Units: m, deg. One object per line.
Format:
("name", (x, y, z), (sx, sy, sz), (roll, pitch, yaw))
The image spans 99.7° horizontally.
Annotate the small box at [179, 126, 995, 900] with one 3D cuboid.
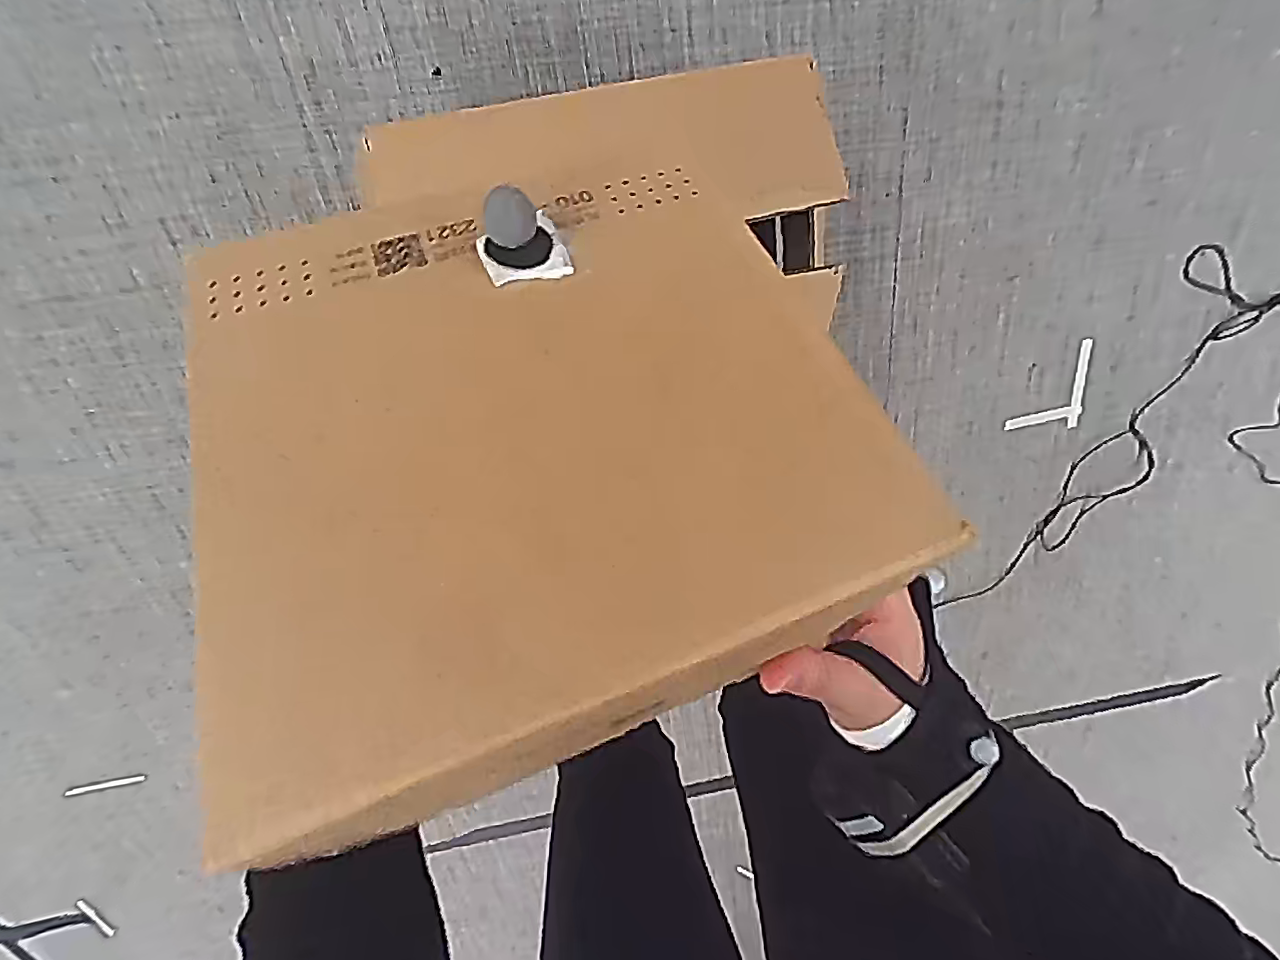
("small box", (-0.028, 0.010, 0.209), (0.168, 0.176, 0.179), (-22, 154, -11))
